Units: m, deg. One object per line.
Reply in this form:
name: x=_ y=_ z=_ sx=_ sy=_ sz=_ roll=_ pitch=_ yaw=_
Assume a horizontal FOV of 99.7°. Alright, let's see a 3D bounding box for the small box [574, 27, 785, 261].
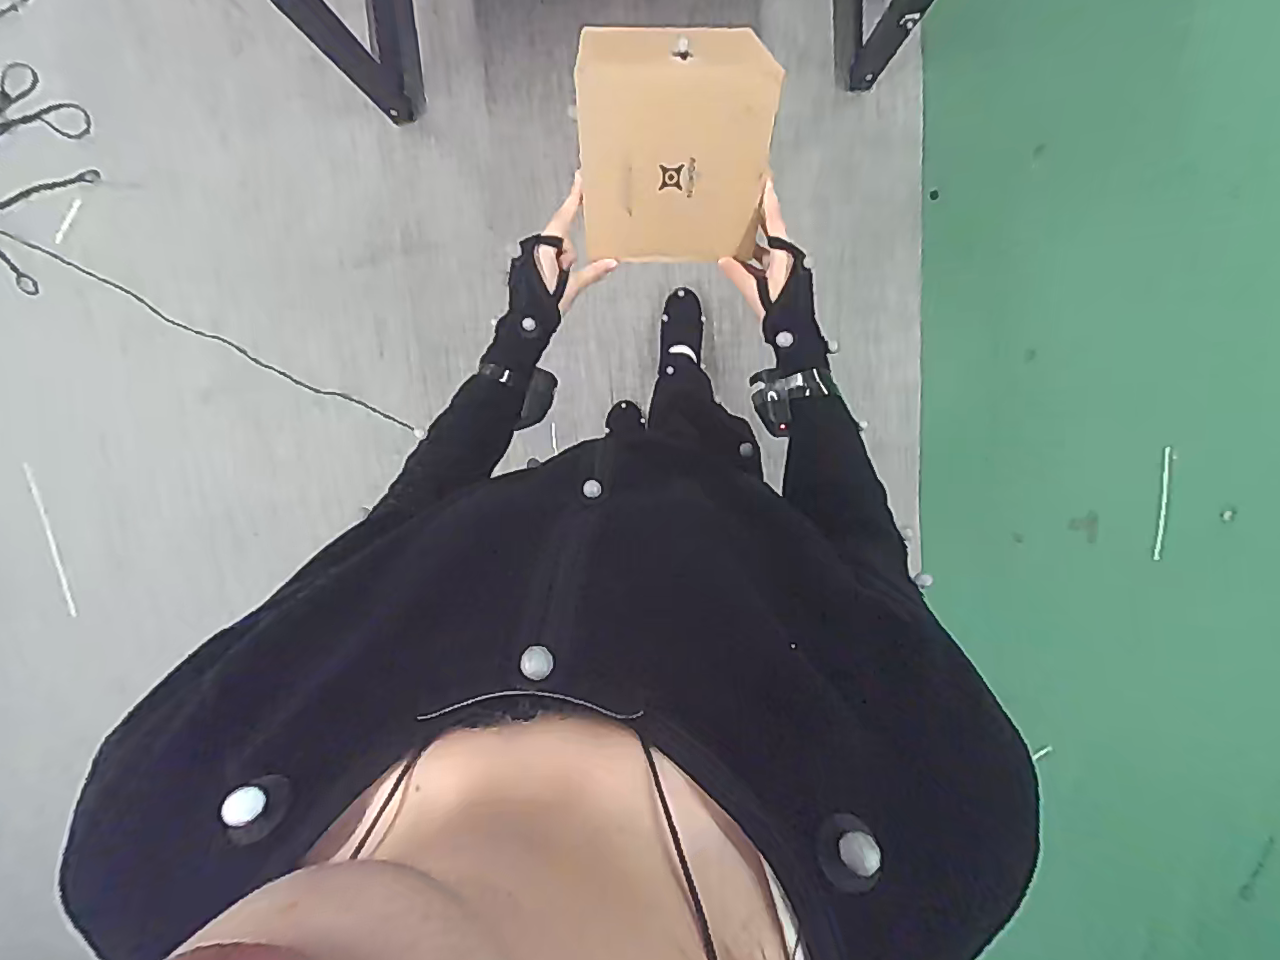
small box: x=0.026 y=-0.340 z=0.547 sx=0.179 sy=0.176 sz=0.168 roll=-1 pitch=137 yaw=-3
